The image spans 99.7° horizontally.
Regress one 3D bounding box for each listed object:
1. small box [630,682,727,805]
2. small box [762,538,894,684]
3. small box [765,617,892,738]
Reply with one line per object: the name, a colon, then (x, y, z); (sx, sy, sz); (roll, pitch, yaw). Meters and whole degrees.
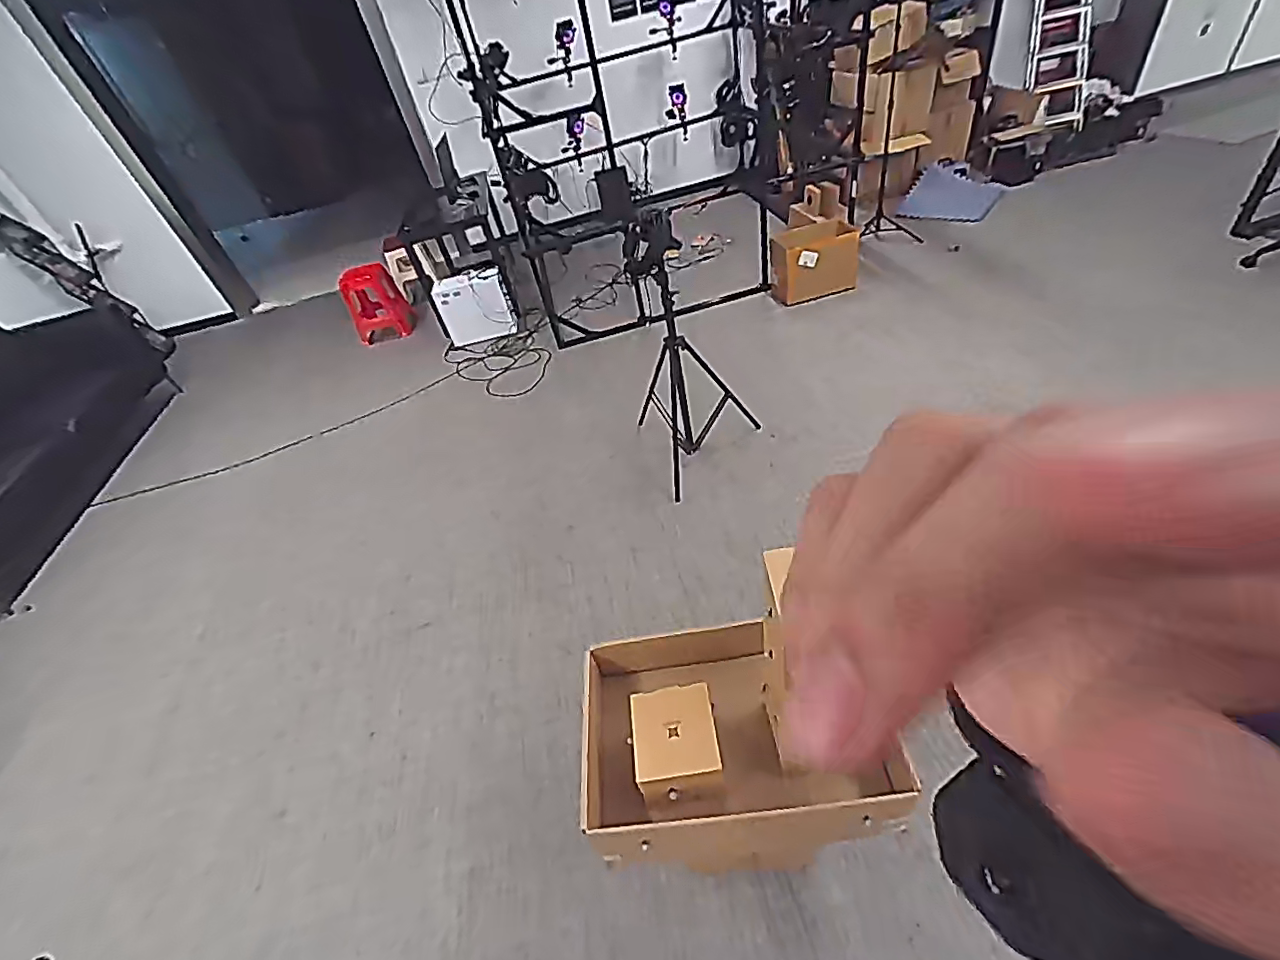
small box: (0.079, 0.549, 1.116); (0.168, 0.176, 0.179); (-11, 41, 3)
small box: (0.306, 0.226, 0.908); (0.168, 0.176, 0.179); (-9, 41, 6)
small box: (0.337, 0.355, 1.006); (0.179, 0.176, 0.168); (-11, 41, 2)
